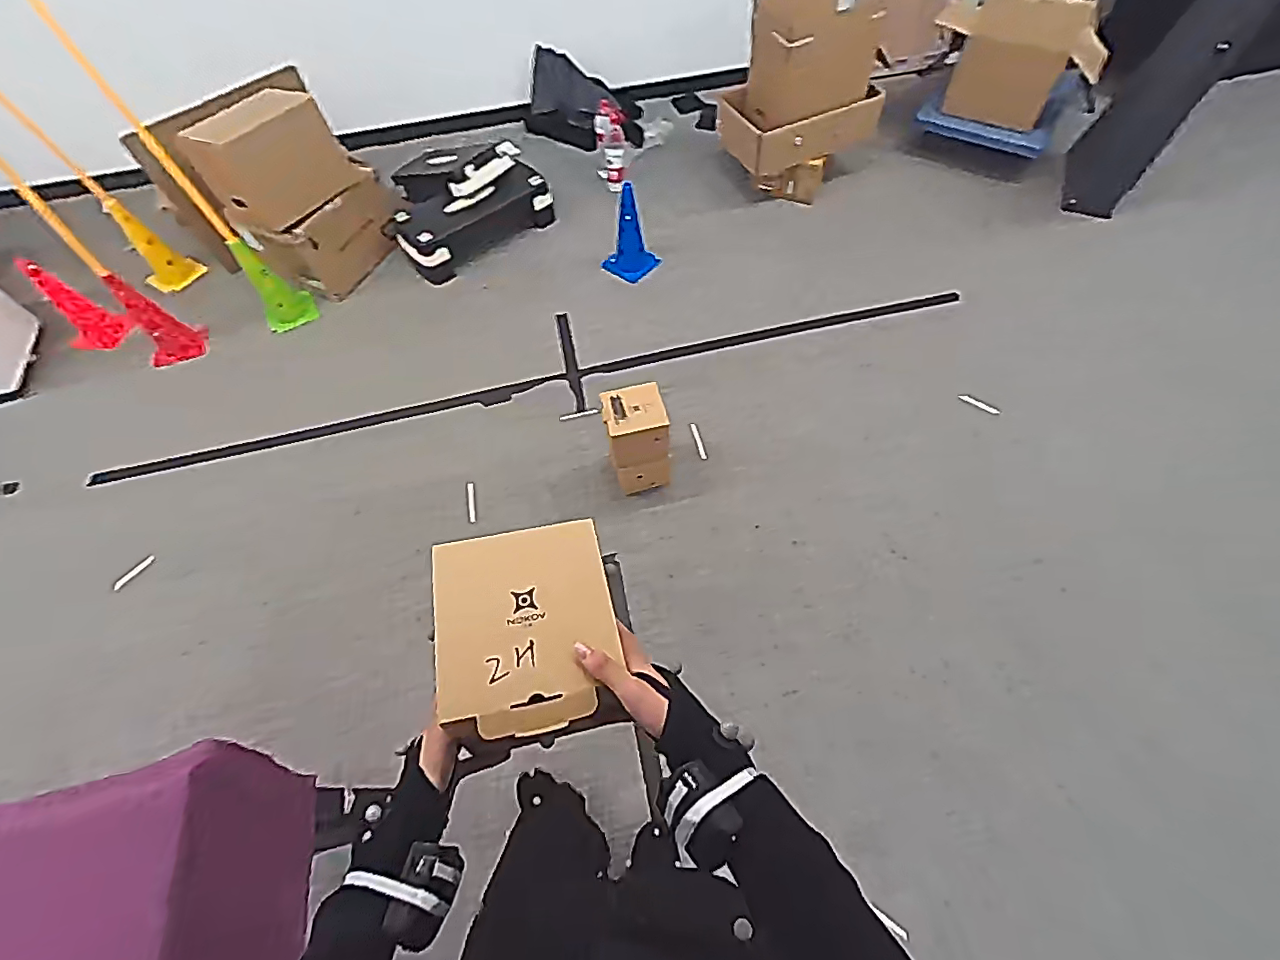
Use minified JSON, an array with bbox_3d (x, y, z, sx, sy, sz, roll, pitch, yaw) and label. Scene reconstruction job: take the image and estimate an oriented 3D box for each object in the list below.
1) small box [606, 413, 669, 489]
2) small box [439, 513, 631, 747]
[{"bbox_3d":[-0.006,-0.087,1.774,0.168,0.176,0.179,-16,60,-6],"label":"small box"},{"bbox_3d":[-0.110,0.160,0.573,0.168,0.176,0.179,-8,56,-10],"label":"small box"}]
